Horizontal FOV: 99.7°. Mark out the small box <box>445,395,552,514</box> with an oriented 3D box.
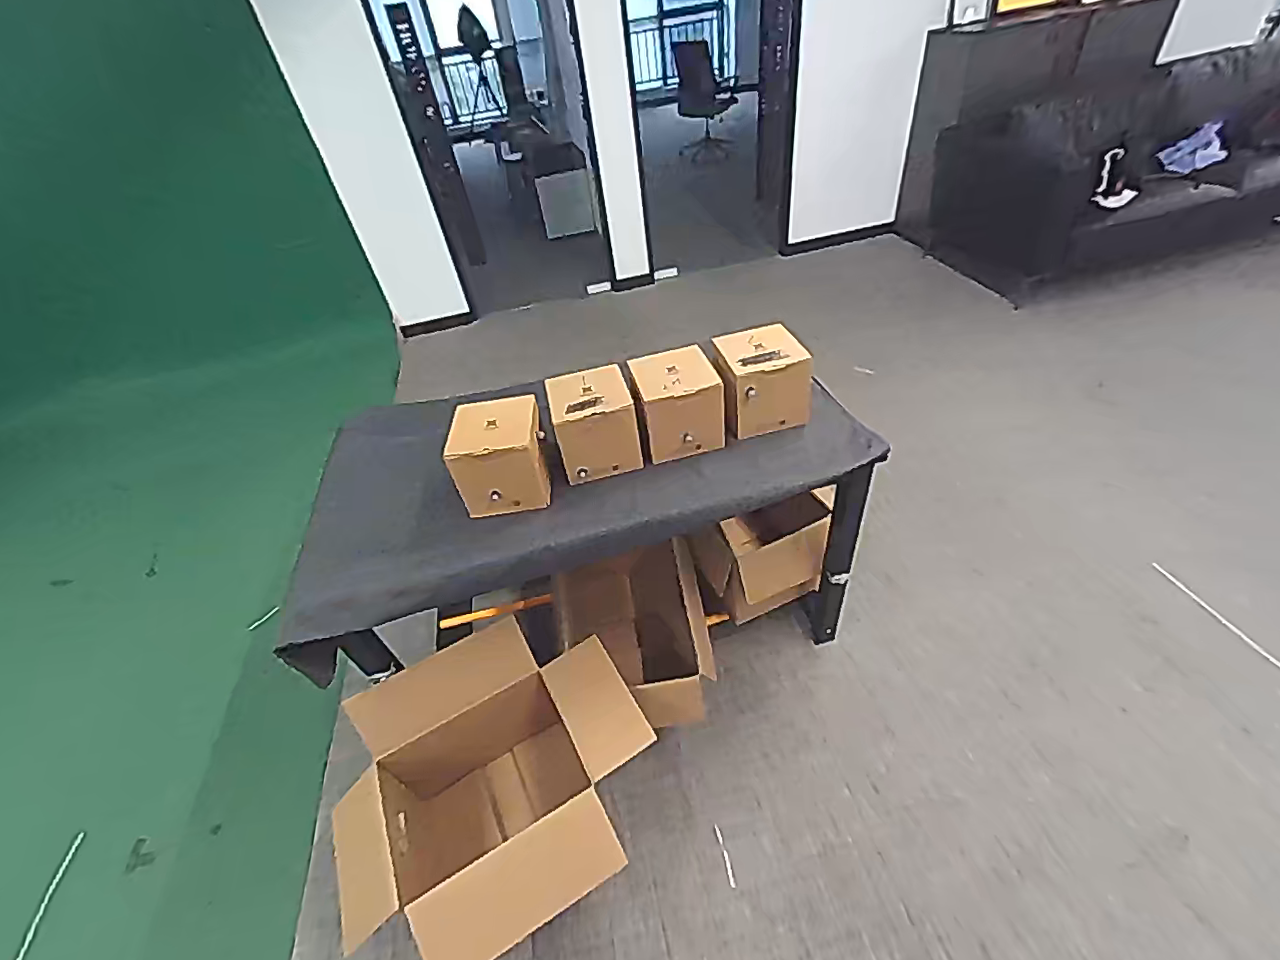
[{"bbox_3d":[-0.283,-0.053,1.127,0.168,0.176,0.179,-8,43,1],"label":"small box"}]
